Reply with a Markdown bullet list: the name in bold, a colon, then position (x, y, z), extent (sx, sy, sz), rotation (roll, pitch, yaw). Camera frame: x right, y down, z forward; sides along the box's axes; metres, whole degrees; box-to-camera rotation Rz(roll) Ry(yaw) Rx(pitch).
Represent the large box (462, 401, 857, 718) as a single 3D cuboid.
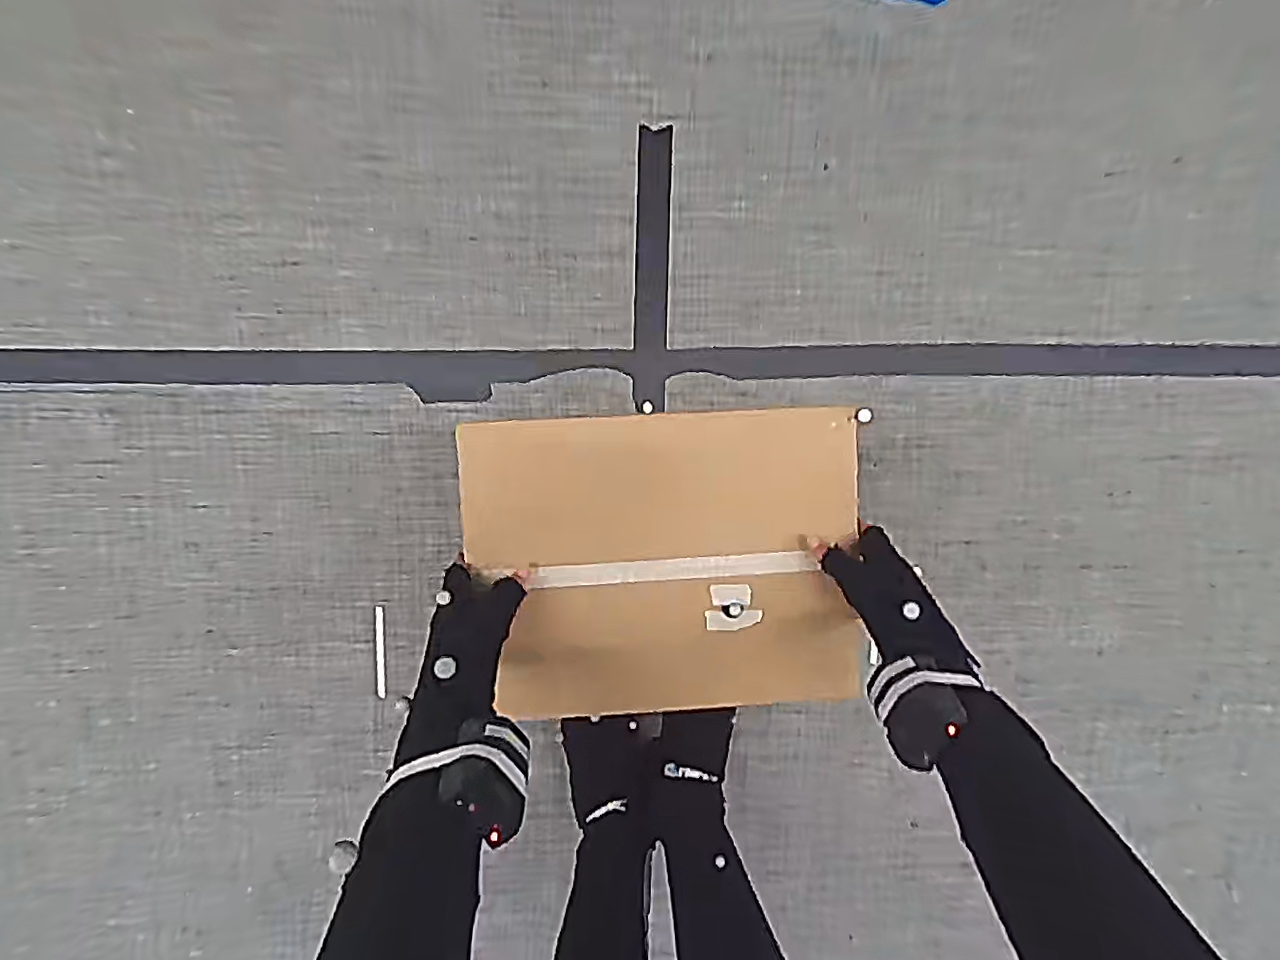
- **large box**: position (0.018, 0.072, 0.711), extent (0.408, 0.320, 0.320), rotation (-4, 96, -3)
